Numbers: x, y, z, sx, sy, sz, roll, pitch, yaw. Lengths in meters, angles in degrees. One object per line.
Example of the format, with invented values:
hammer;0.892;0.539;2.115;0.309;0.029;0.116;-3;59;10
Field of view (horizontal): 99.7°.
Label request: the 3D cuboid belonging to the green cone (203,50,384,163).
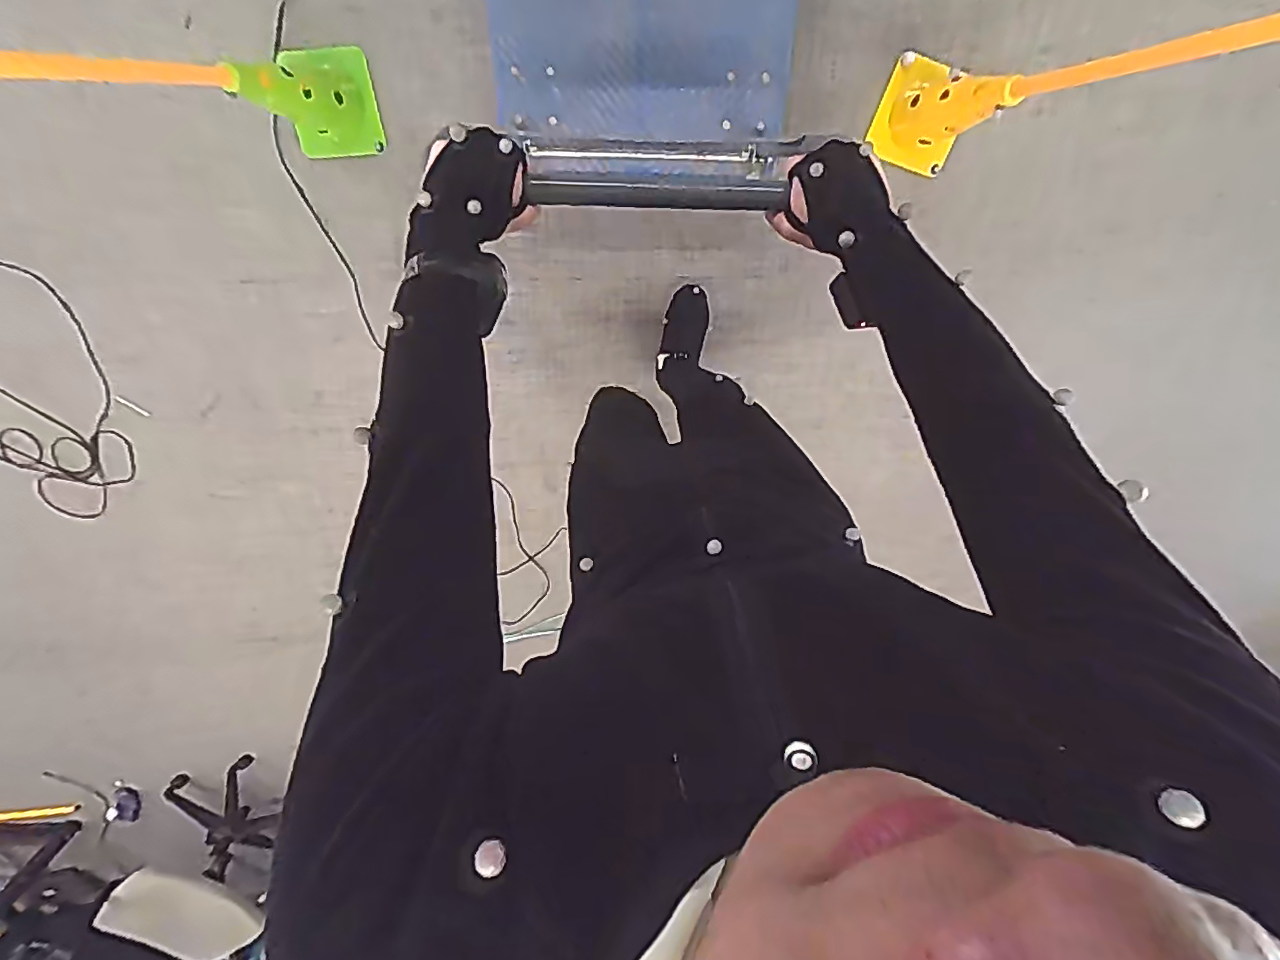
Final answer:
green cone;-0.696;-0.752;1.056;0.202;0.368;0.200;-3;117;4
